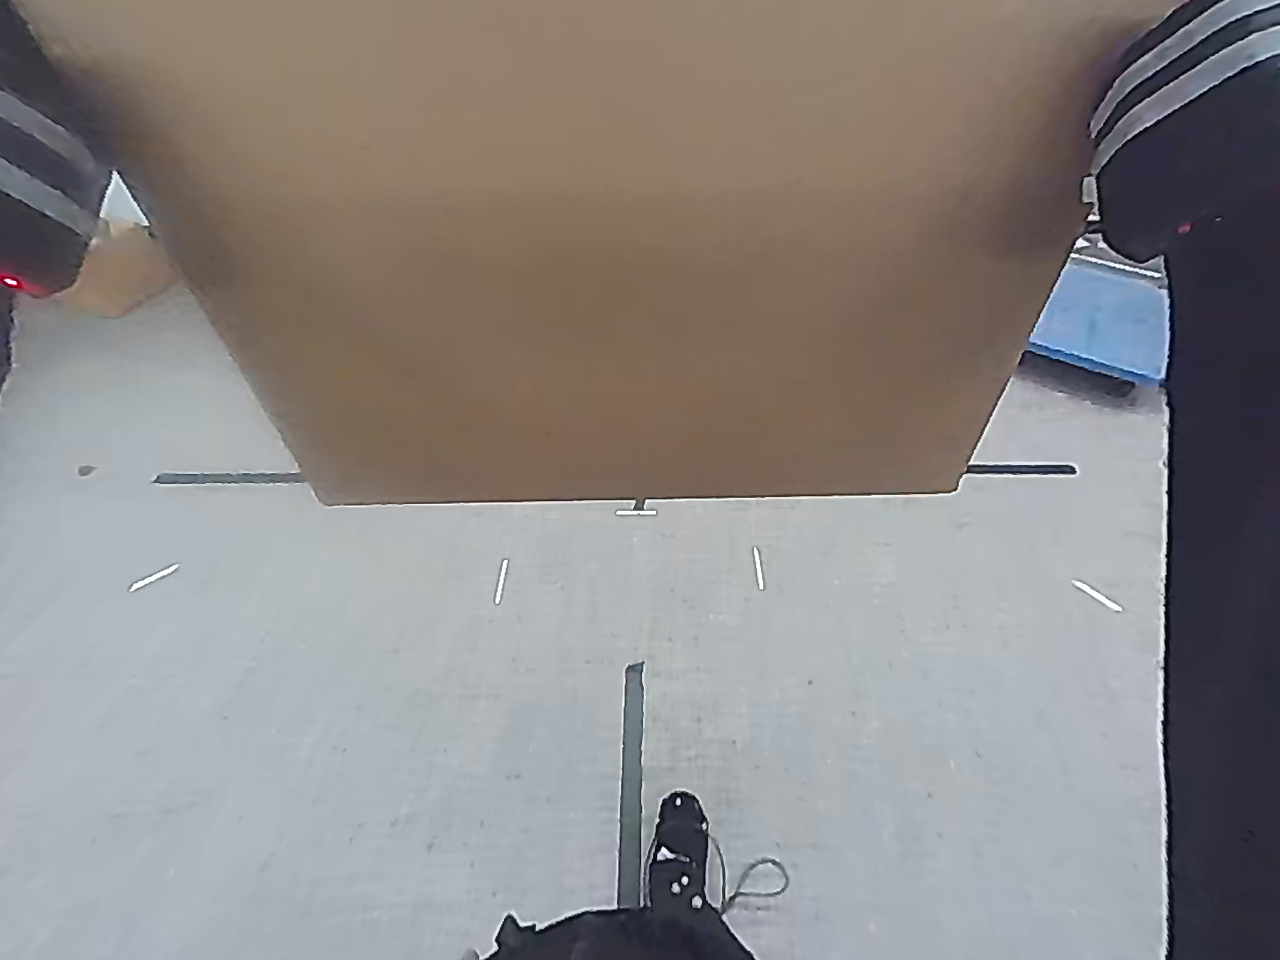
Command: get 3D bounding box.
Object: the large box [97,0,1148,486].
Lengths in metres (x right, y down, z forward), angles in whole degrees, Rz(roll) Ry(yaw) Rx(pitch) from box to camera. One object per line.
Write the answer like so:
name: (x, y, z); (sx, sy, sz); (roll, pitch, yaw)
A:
large box: (-0.006, -0.210, 0.369); (0.408, 0.320, 0.320); (-1, 42, 1)
